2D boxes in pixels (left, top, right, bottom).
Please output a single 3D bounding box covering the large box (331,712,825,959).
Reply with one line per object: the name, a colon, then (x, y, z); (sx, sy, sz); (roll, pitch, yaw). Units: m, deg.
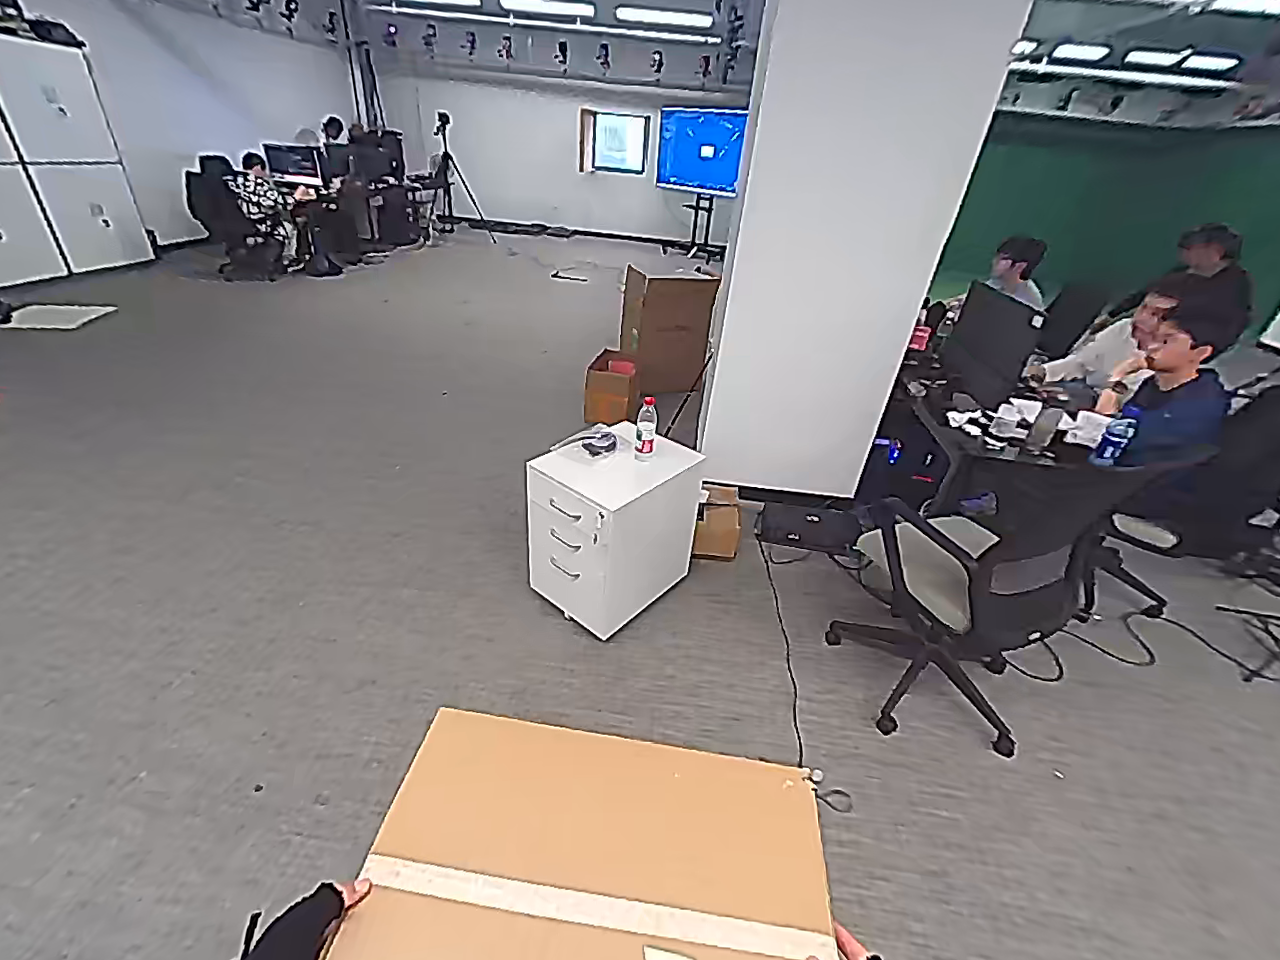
large box: (-0.056, 0.491, 0.549); (0.408, 0.320, 0.320); (9, 34, 3)
